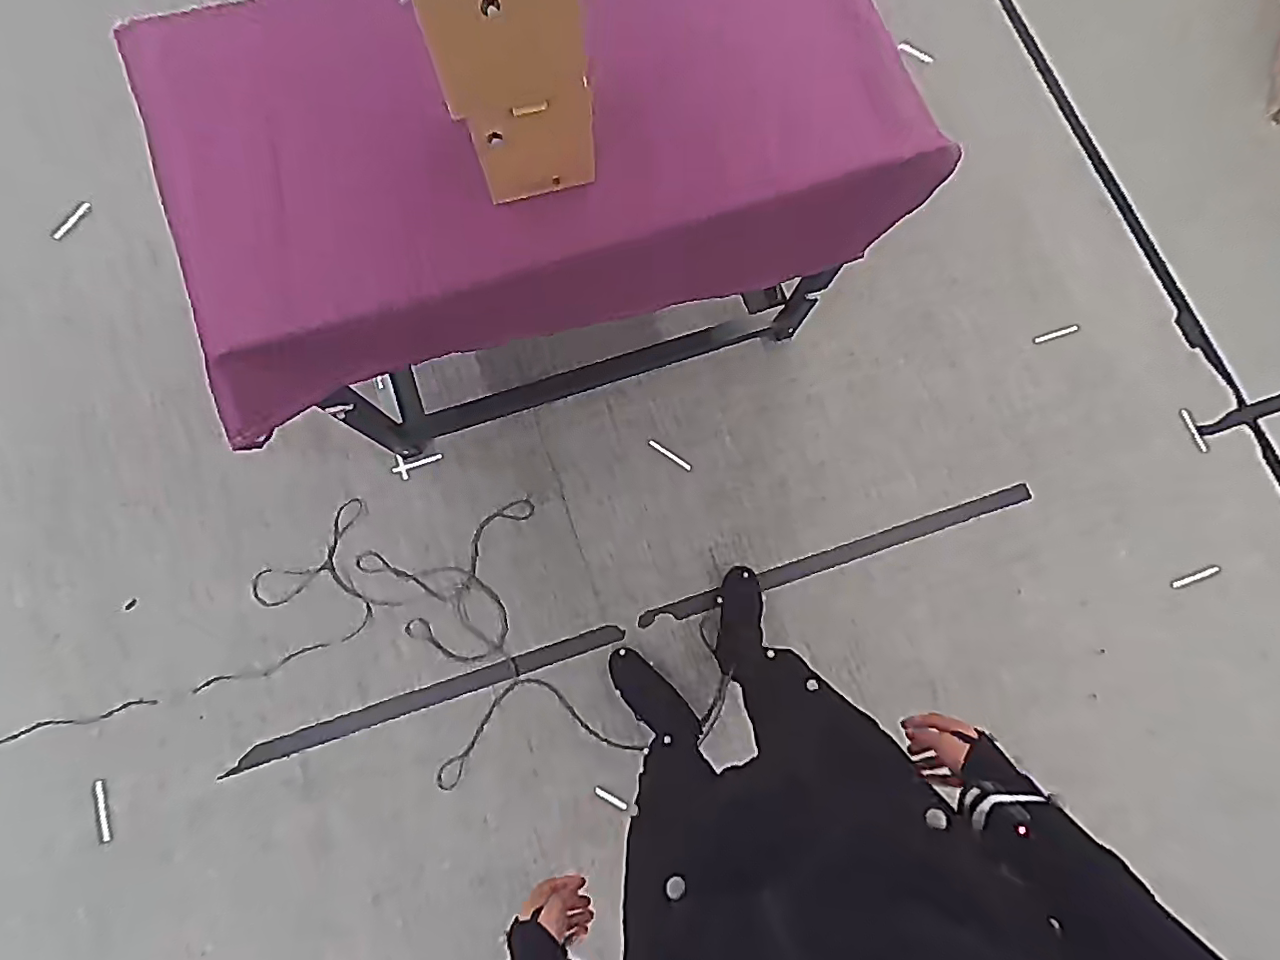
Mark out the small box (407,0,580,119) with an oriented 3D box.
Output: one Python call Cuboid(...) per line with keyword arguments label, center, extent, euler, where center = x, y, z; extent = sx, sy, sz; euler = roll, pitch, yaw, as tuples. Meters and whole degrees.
Cuboid(label="small box", center=(-0.176, -0.562, 0.627), extent=(0.179, 0.176, 0.168), euler=(-17, 80, -6))
